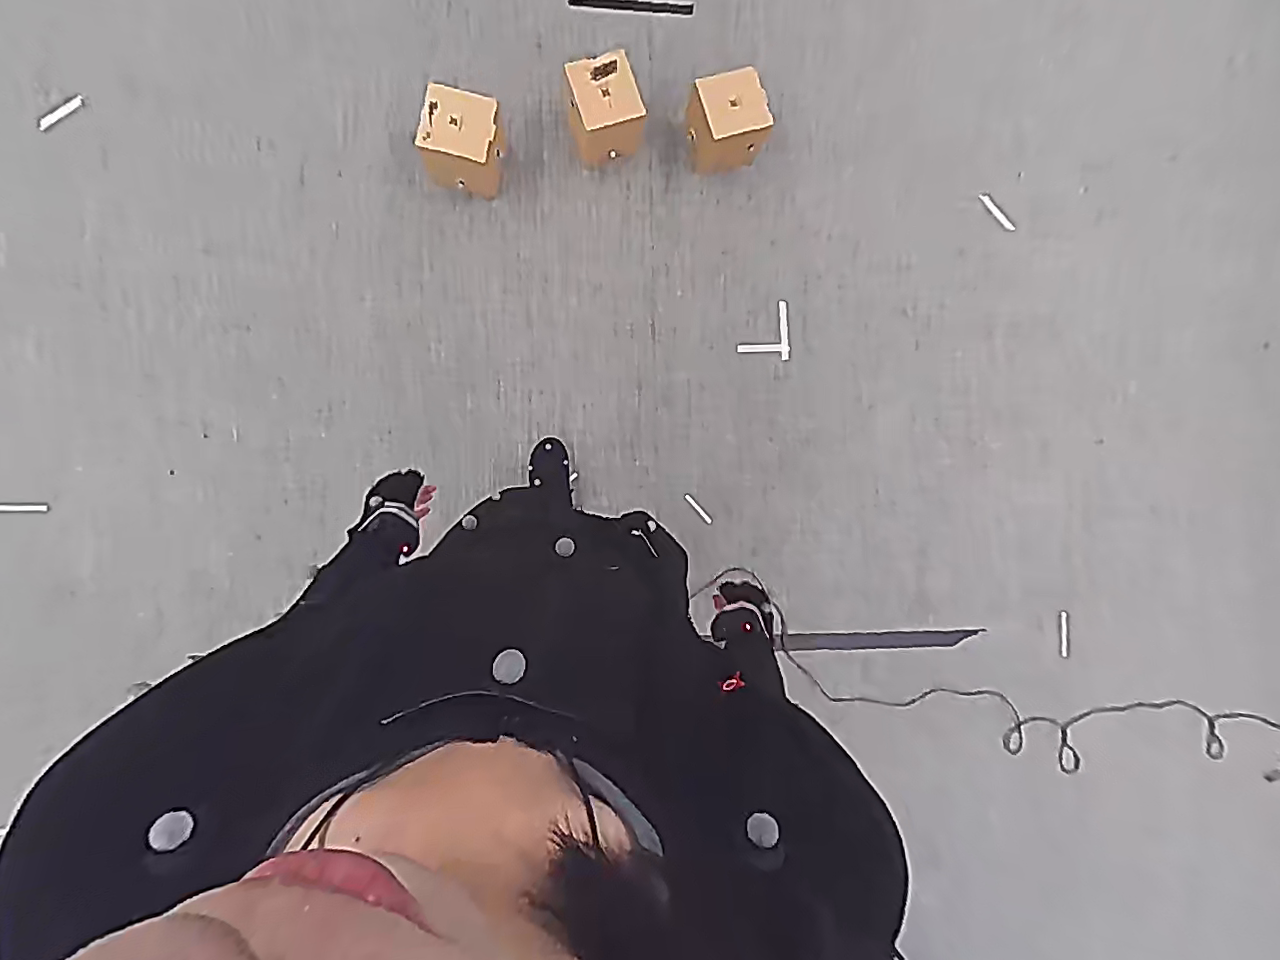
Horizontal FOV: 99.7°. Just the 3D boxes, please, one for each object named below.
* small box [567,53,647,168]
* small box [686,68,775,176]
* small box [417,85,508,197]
[{"bbox_3d":[-0.093,-0.988,1.457,0.168,0.176,0.179,-20,92,-6],"label":"small box"},{"bbox_3d":[0.245,-0.984,1.497,0.179,0.176,0.168,-19,90,-6],"label":"small box"},{"bbox_3d":[-0.455,-0.877,1.418,0.179,0.176,0.168,12,87,-6],"label":"small box"}]
